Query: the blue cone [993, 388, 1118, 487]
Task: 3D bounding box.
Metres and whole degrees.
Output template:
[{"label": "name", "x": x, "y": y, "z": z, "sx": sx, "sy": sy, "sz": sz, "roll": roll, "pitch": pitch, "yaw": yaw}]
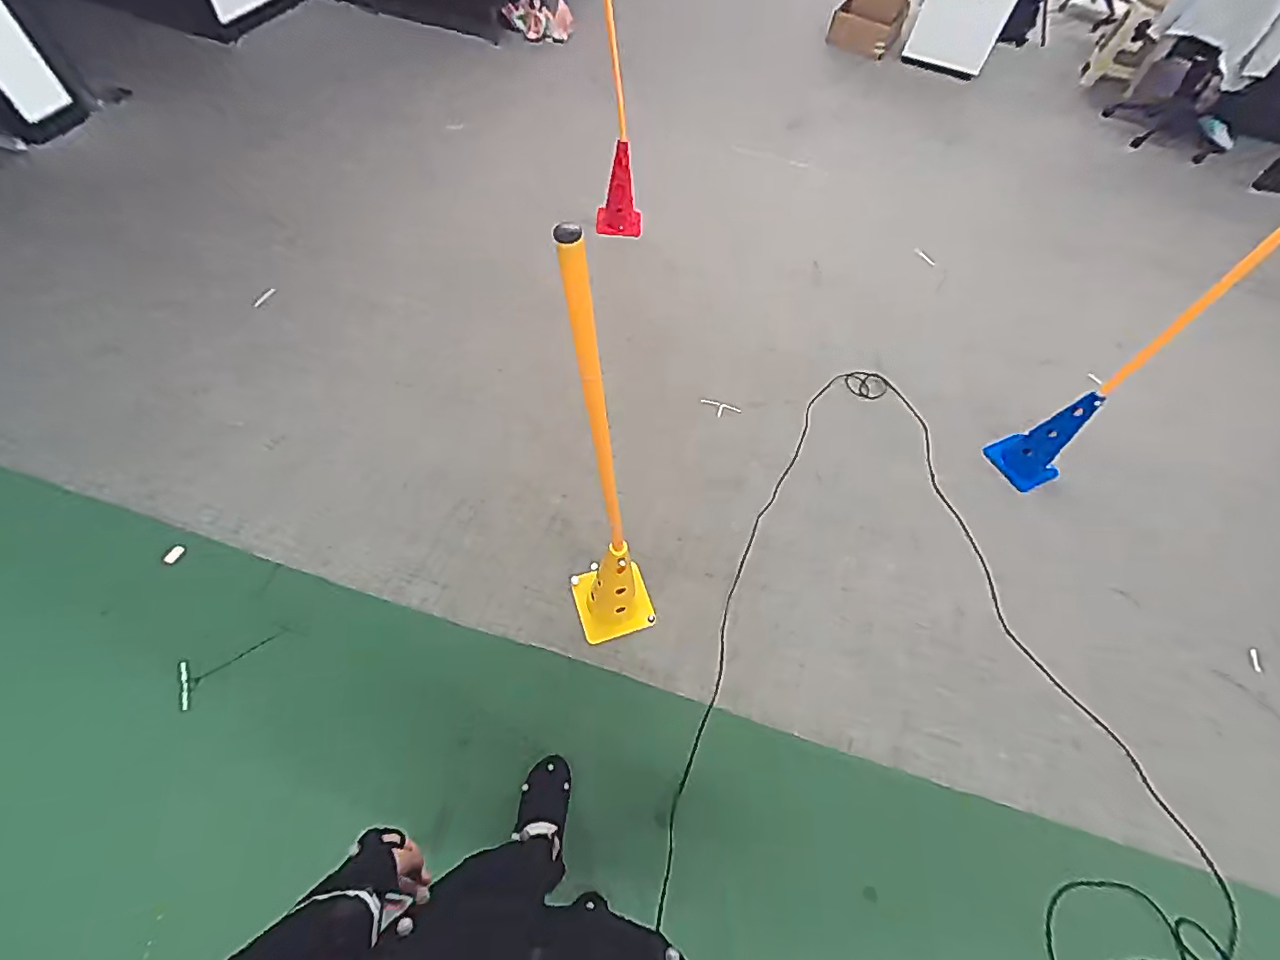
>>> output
[{"label": "blue cone", "x": 1.364, "y": -0.163, "z": 1.748, "sx": 0.193, "sy": 0.380, "sz": 0.192, "roll": -21, "pitch": 62, "yaw": -20}]
